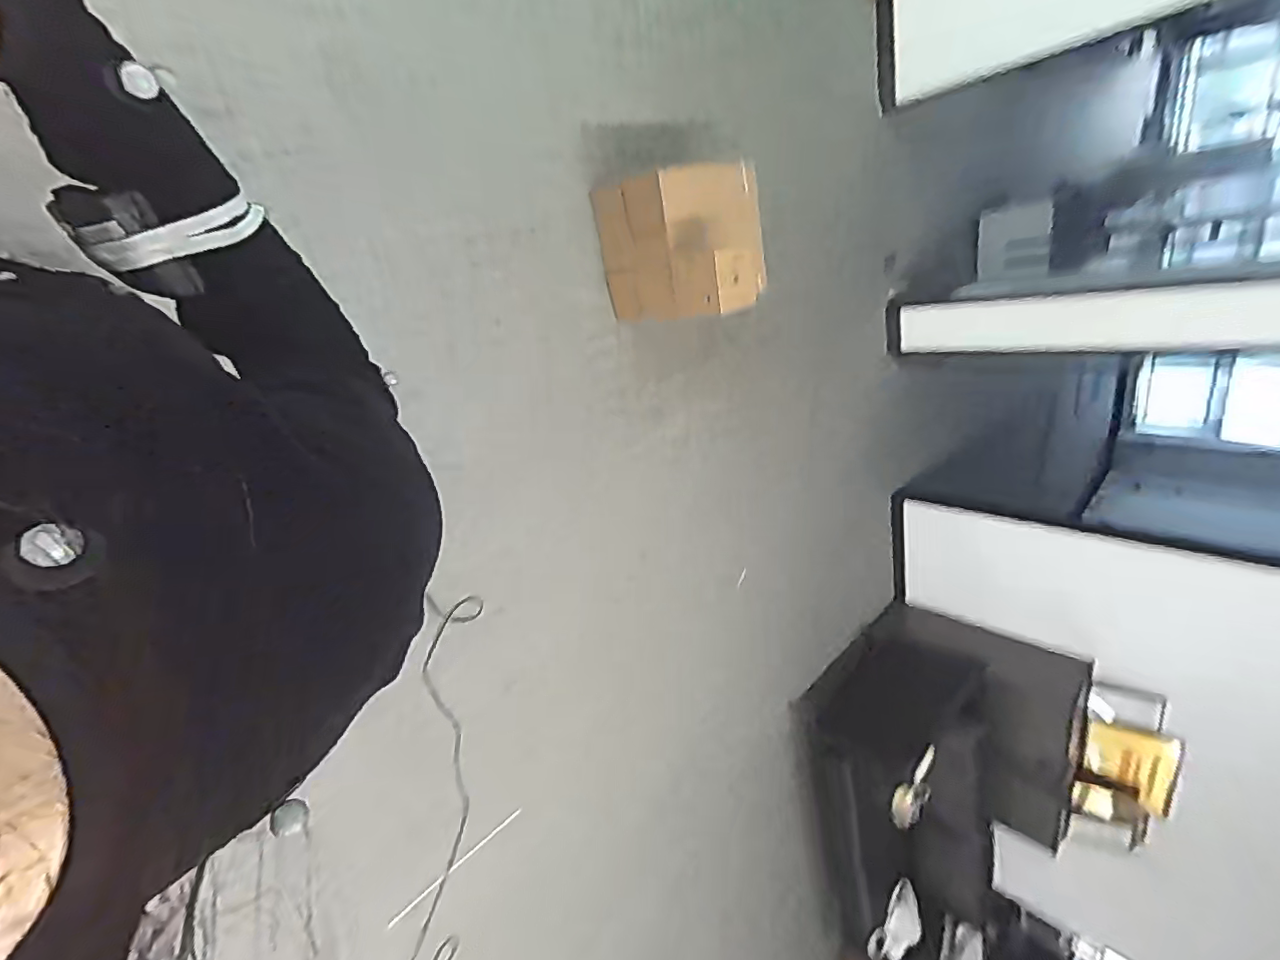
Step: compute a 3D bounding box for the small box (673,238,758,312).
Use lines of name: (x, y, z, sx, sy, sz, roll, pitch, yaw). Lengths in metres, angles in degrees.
small box: (0.218, -0.589, 1.562, 0.168, 0.176, 0.179, -28, 118, -35)
